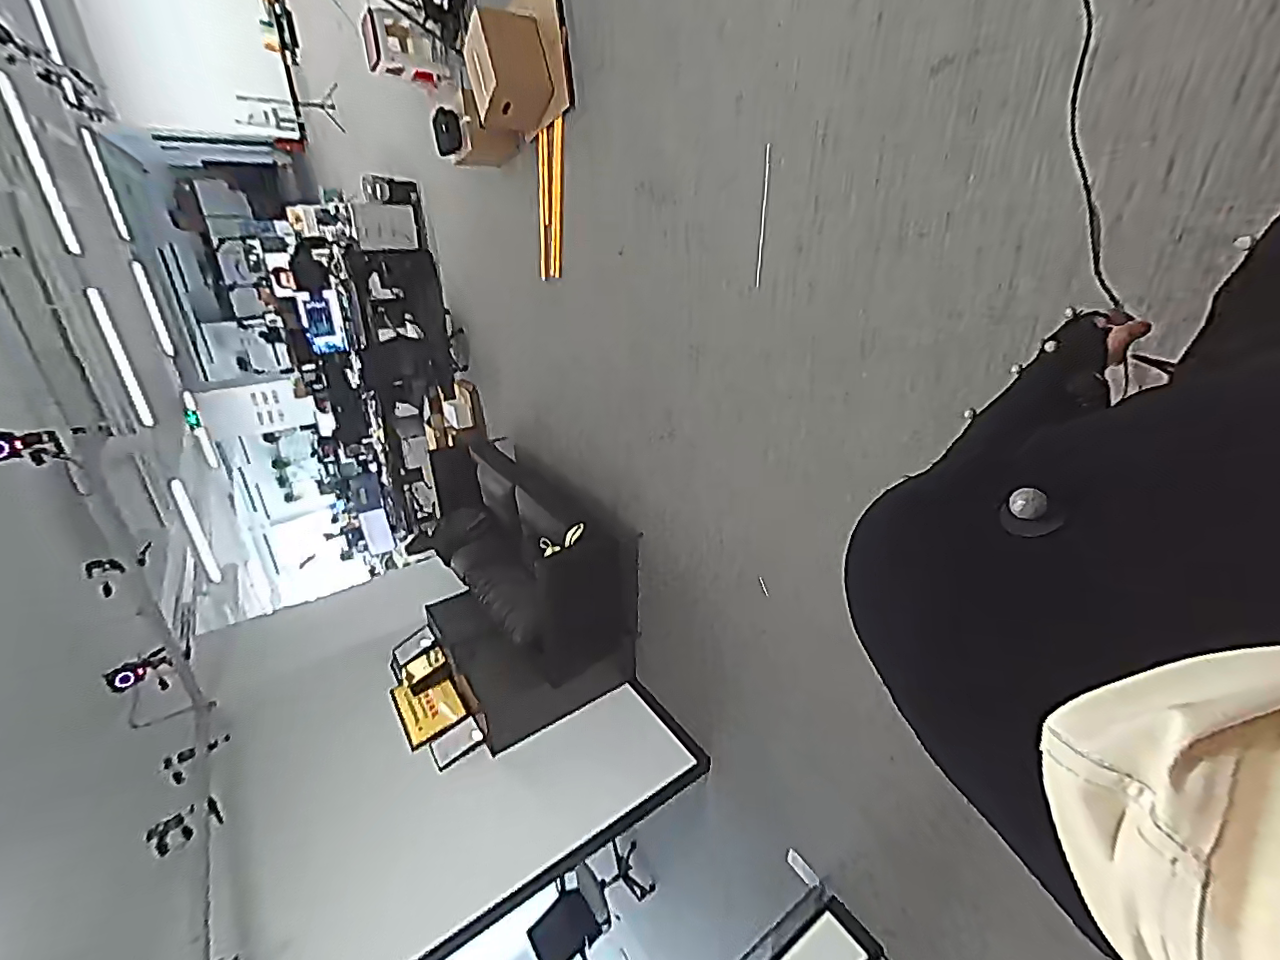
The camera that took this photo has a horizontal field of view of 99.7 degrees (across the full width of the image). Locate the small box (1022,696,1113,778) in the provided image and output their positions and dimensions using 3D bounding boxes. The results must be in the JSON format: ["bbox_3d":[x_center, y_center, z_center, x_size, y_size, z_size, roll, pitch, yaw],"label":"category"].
[{"bbox_3d":[1.143,0.736,1.477,0.168,0.176,0.179,35,132,43],"label":"small box"}]

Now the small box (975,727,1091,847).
[{"bbox_3d":[1.011,0.780,1.390,0.168,0.176,0.179,37,135,41],"label":"small box"}]
